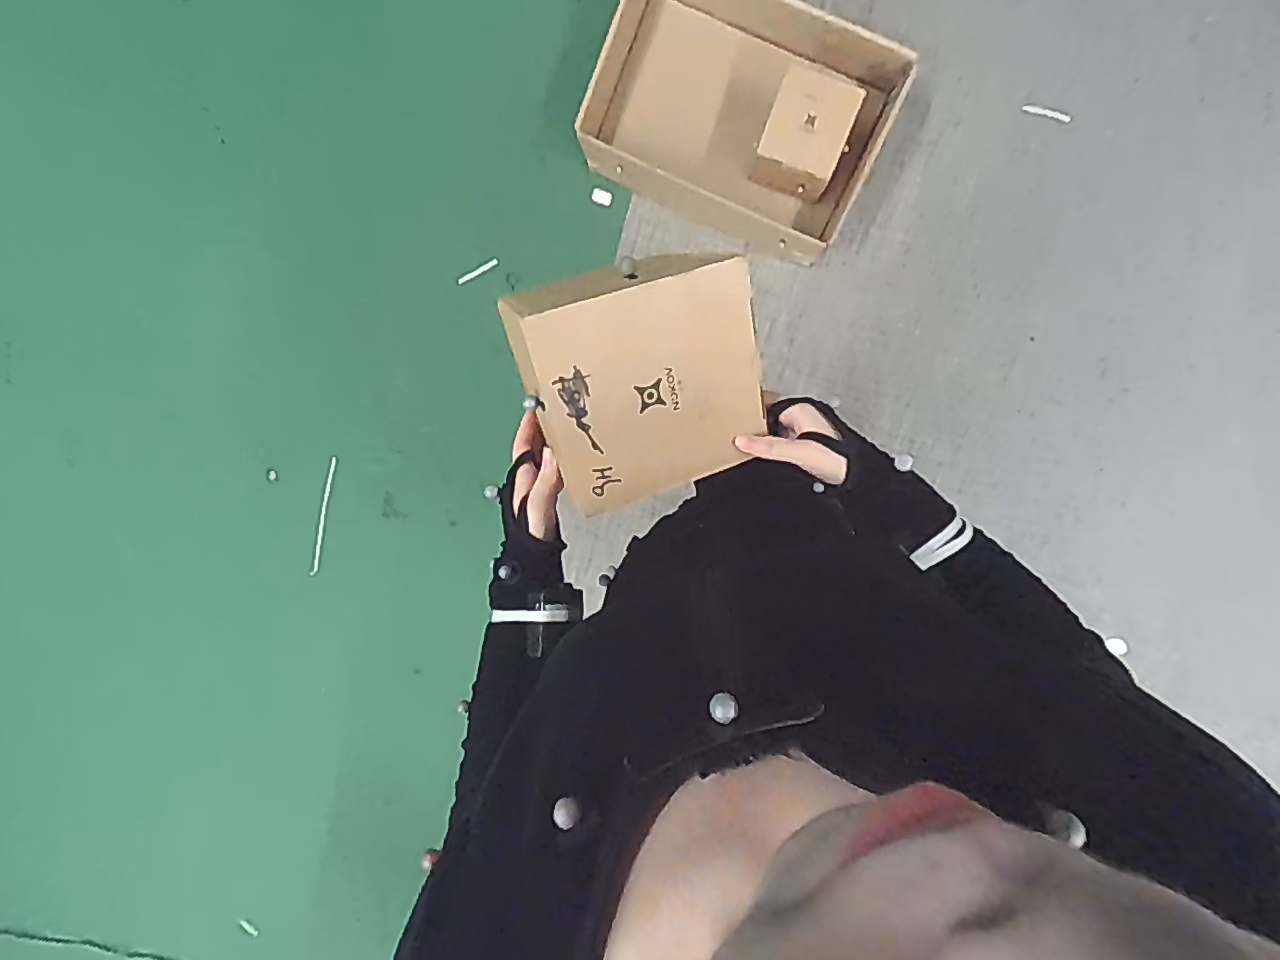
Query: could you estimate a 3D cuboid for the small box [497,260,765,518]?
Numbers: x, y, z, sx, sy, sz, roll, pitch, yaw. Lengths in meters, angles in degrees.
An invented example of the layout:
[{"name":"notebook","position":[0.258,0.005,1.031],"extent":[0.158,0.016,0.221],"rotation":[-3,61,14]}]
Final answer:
[{"name":"small box","position":[-0.013,-0.096,0.487],"extent":[0.179,0.176,0.168],"rotation":[-20,116,-12]}]
